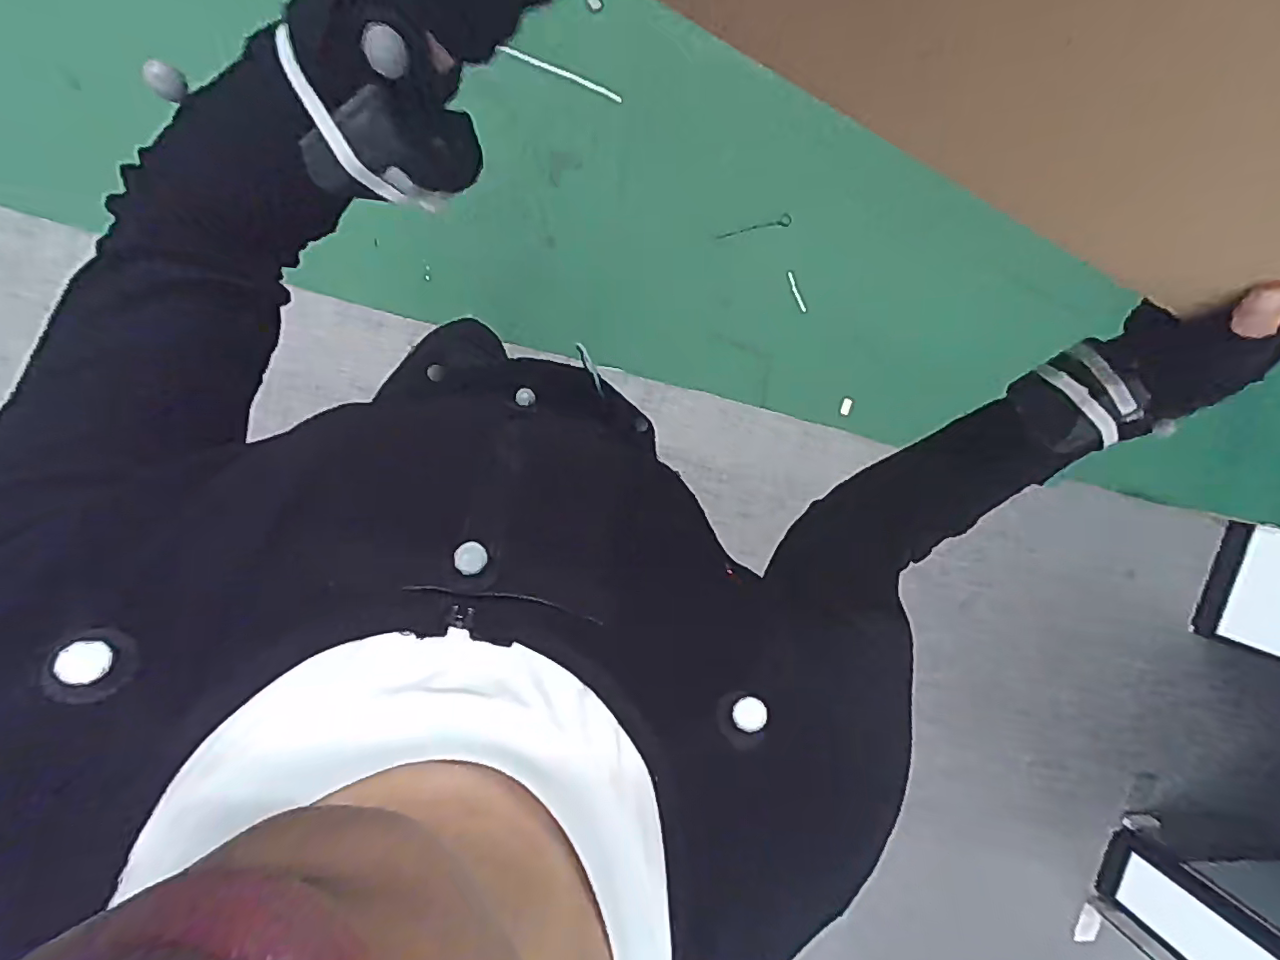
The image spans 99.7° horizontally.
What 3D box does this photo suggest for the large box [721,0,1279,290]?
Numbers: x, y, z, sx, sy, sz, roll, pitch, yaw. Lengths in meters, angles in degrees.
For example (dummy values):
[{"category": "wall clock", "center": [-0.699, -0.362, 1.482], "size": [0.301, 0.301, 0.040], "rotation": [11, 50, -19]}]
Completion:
[{"category": "large box", "center": [0.252, -0.277, 0.119], "size": [0.408, 0.320, 0.320], "rotation": [13, 95, -23]}]
